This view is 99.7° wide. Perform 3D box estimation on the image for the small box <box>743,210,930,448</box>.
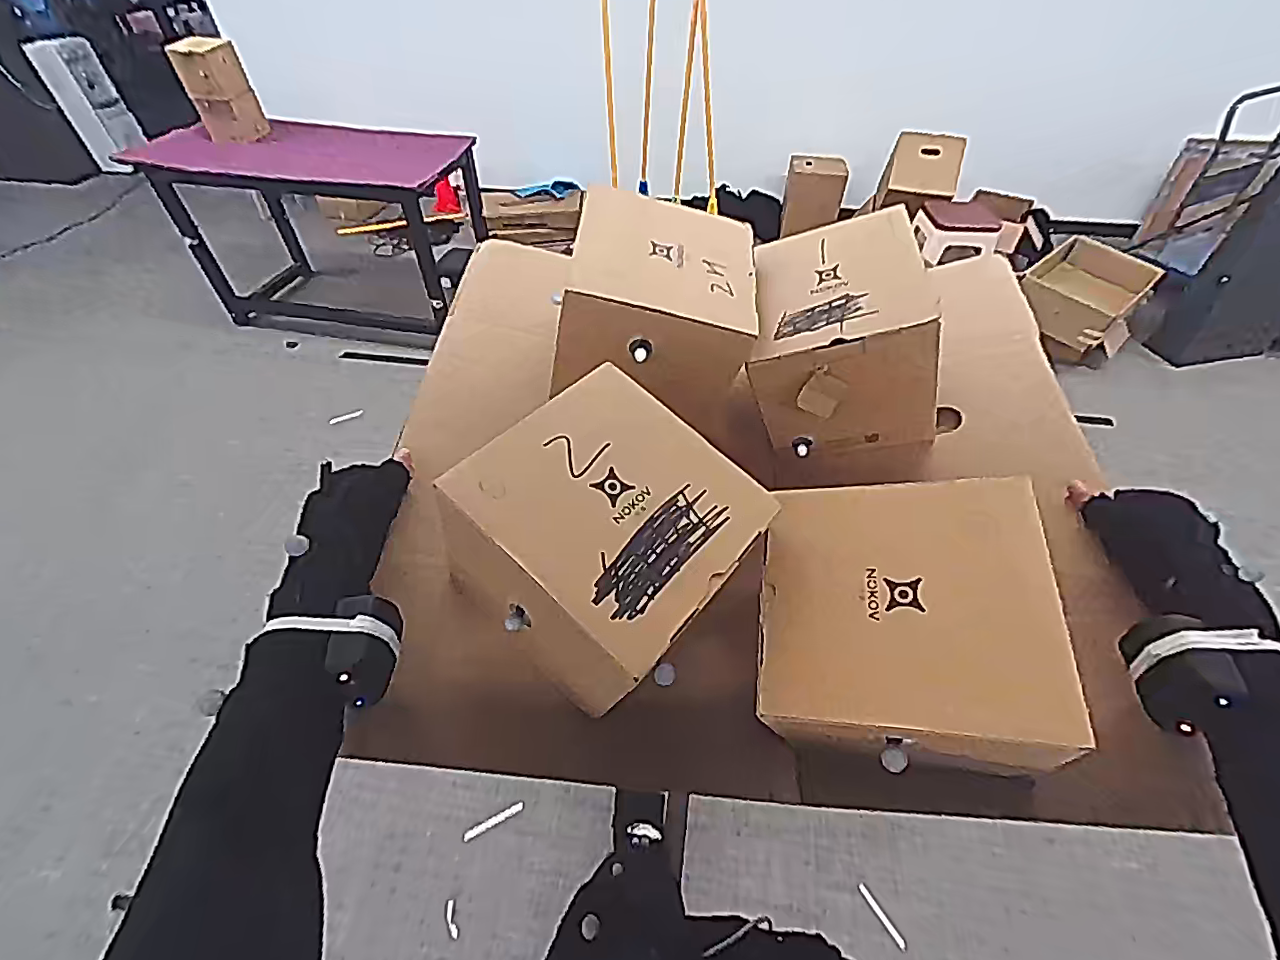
[{"bbox_3d":[0.214,-0.150,0.593,0.168,0.176,0.179,-8,54,22],"label":"small box"}]
